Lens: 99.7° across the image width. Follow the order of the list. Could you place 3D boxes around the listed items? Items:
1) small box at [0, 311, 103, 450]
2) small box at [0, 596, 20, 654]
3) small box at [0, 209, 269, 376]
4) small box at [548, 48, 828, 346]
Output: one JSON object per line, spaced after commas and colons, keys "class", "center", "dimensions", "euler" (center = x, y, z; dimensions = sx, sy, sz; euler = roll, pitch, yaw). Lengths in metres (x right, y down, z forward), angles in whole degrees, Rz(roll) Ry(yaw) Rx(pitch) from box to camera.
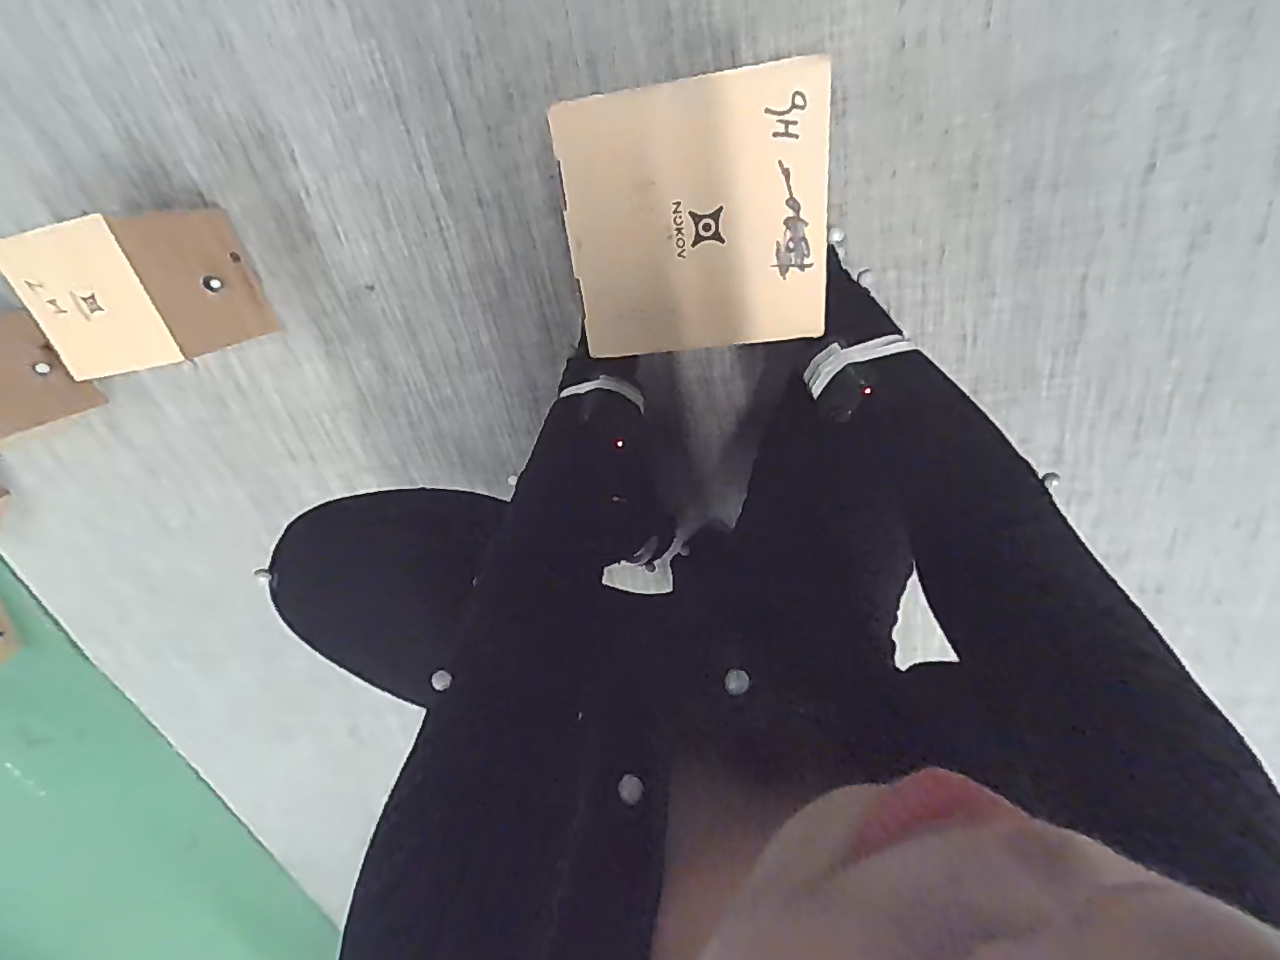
{"class": "small box", "center": [-0.996, -0.137, 0.819], "dimensions": [0.179, 0.176, 0.168], "euler": [-18, 114, 16]}
{"class": "small box", "center": [-1.510, 0.329, 1.148], "dimensions": [0.179, 0.176, 0.168], "euler": [15, 119, 1]}
{"class": "small box", "center": [-0.631, -0.248, 0.704], "dimensions": [0.179, 0.176, 0.168], "euler": [-6, 116, 12]}
{"class": "small box", "center": [0.046, -0.215, 0.436], "dimensions": [0.179, 0.176, 0.168], "euler": [-3, 118, 10]}
